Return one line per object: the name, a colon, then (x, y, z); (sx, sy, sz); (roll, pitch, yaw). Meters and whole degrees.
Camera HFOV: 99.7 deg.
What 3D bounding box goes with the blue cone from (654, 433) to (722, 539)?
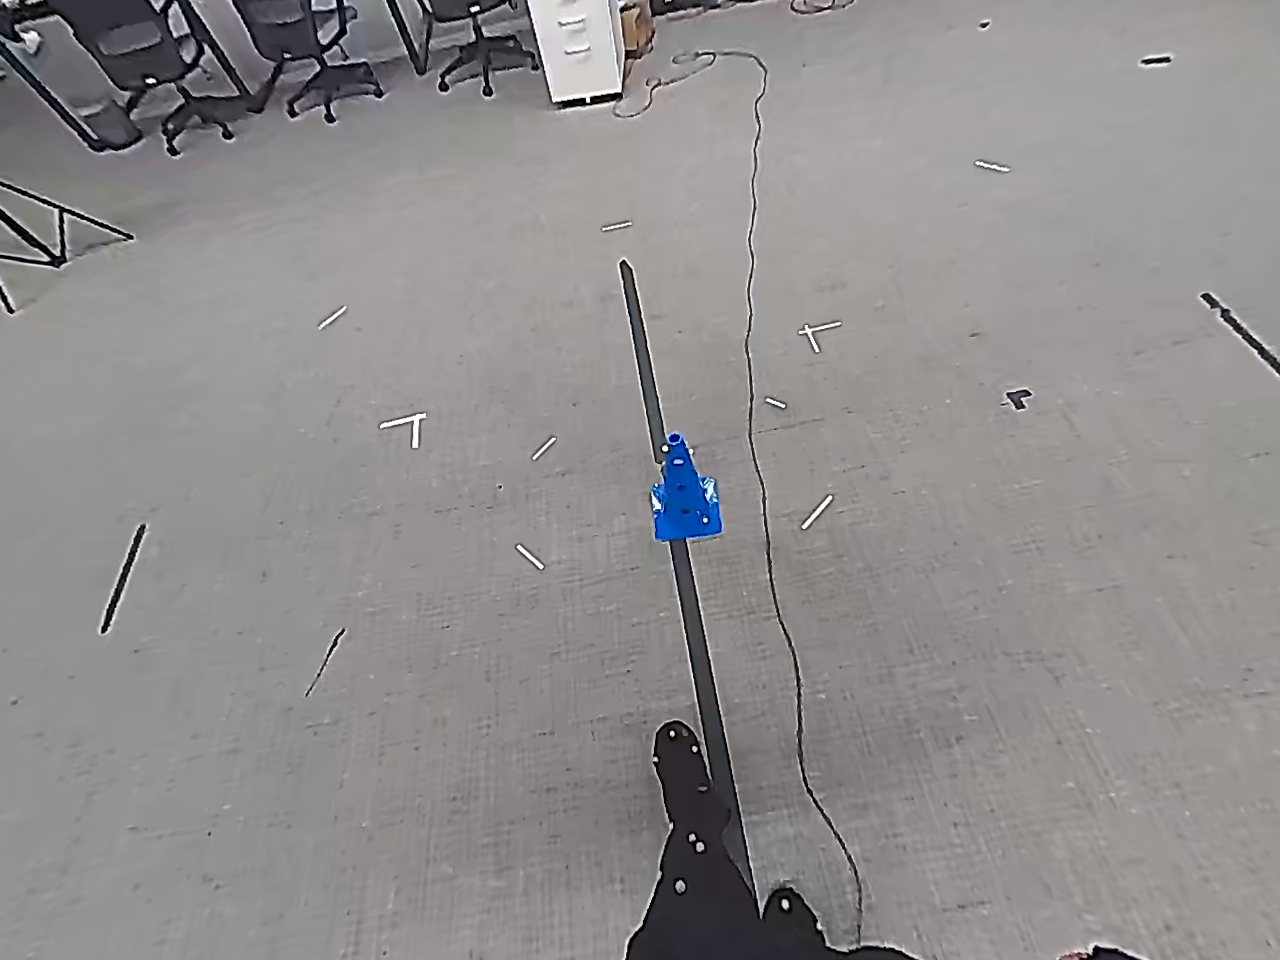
blue cone: (0.116, -0.009, 1.476); (0.193, 0.380, 0.192); (-8, 56, 4)
